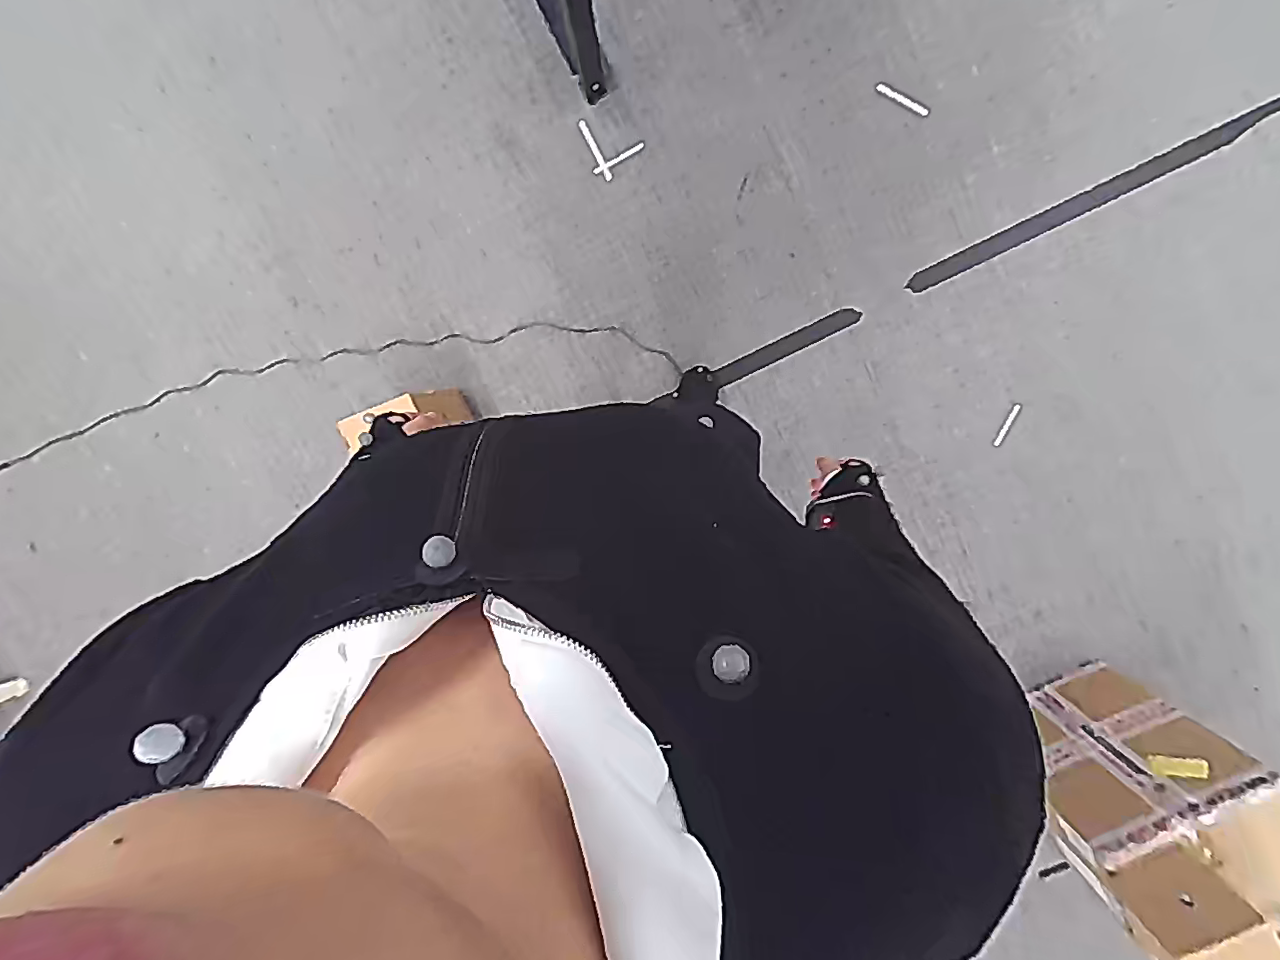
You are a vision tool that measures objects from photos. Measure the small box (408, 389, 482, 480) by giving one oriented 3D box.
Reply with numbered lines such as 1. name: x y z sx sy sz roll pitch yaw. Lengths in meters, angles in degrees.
1. small box: -0.537 -0.124 1.405 0.168 0.176 0.179 -26 100 5

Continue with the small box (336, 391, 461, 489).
1. small box: -0.544 -0.097 1.243 0.179 0.176 0.168 -22 101 4

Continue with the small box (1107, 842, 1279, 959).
1. small box: 1.083 0.873 1.066 0.179 0.176 0.168 -33 95 7
